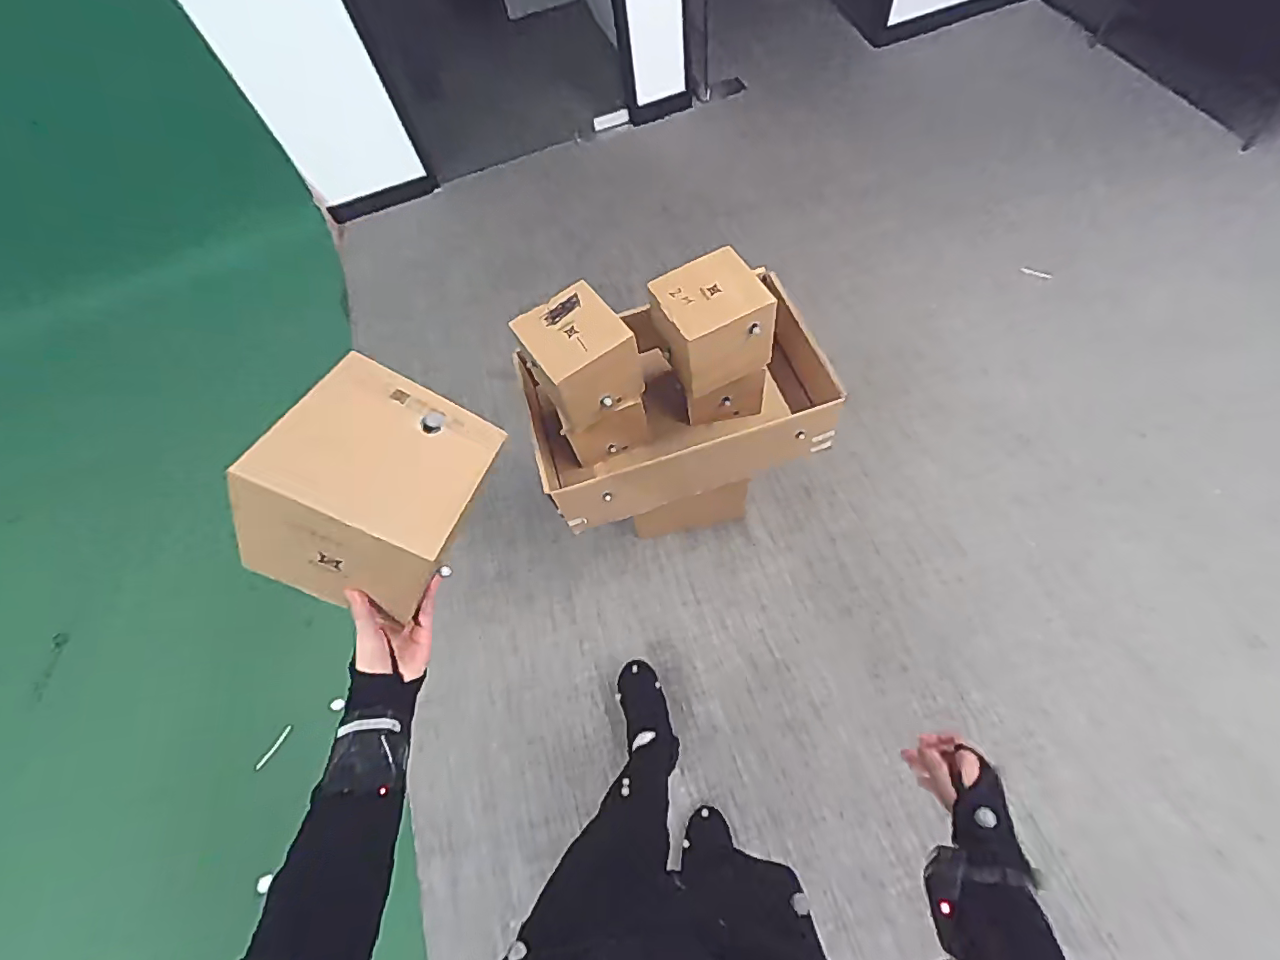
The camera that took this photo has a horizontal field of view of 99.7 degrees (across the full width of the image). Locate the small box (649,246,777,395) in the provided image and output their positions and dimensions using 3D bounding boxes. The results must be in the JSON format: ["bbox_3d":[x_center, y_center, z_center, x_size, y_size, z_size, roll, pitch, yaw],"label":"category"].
[{"bbox_3d":[0.133,-0.293,1.015,0.179,0.176,0.168,-25,61,-5],"label":"small box"}]

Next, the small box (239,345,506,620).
[{"bbox_3d":[-0.255,0.005,0.538,0.168,0.179,0.176,29,45,-12],"label":"small box"}]

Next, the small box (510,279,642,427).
[{"bbox_3d":[-0.114,-0.233,1.019,0.168,0.176,0.179,-33,65,-9],"label":"small box"}]
